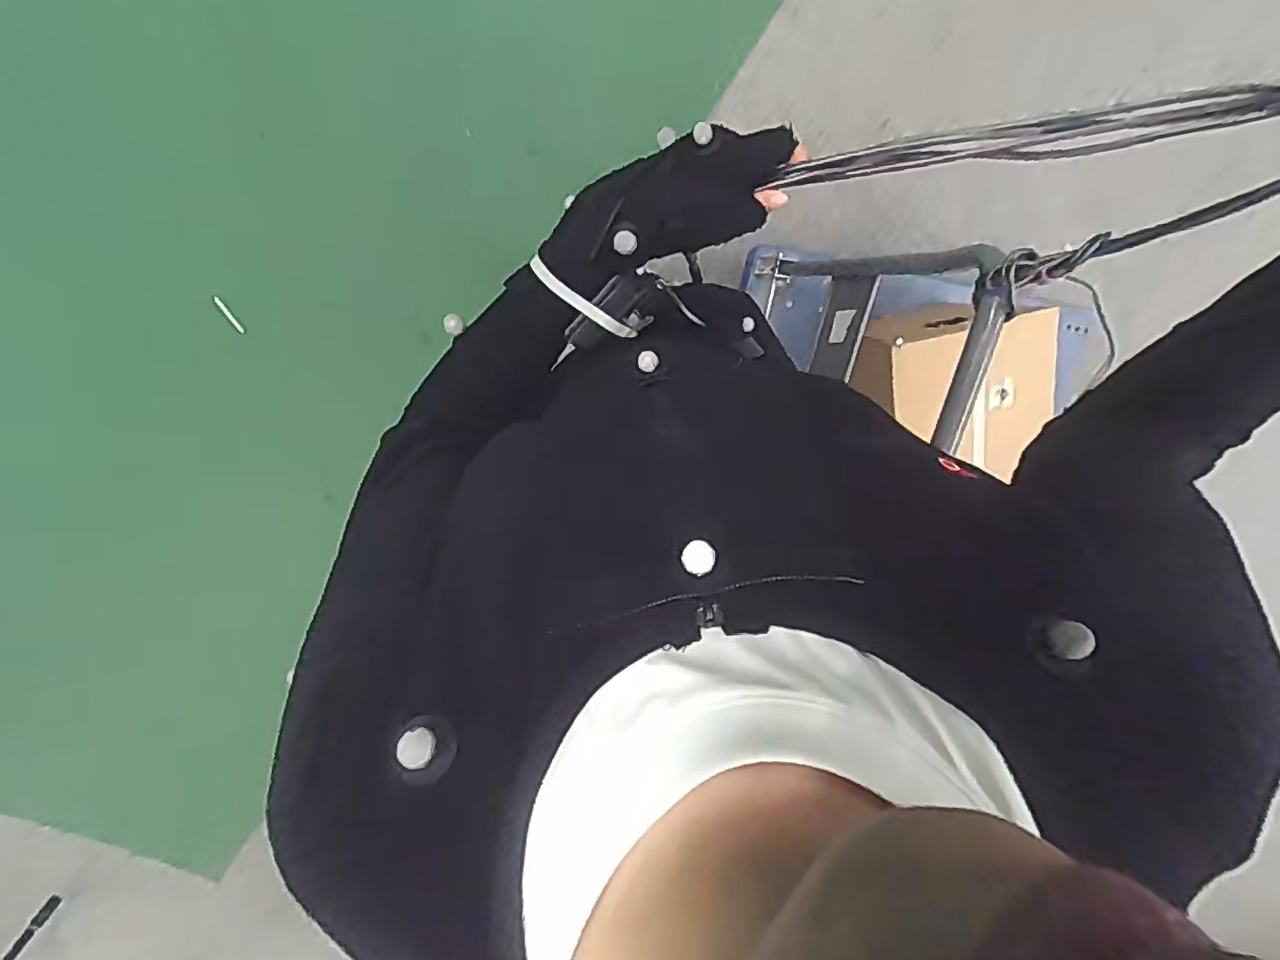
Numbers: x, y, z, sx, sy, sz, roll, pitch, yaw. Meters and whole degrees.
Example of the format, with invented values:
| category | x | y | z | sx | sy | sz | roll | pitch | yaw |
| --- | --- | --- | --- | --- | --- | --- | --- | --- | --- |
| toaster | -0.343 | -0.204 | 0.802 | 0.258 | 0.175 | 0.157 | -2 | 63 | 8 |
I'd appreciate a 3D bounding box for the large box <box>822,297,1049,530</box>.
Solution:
| category | x | y | z | sx | sy | sz | roll | pitch | yaw |
| --- | --- | --- | --- | --- | --- | --- | --- | --- | --- |
| large box | 0.617 | -0.158 | 1.175 | 0.320 | 0.320 | 0.408 | -13 | 109 | -1 |
